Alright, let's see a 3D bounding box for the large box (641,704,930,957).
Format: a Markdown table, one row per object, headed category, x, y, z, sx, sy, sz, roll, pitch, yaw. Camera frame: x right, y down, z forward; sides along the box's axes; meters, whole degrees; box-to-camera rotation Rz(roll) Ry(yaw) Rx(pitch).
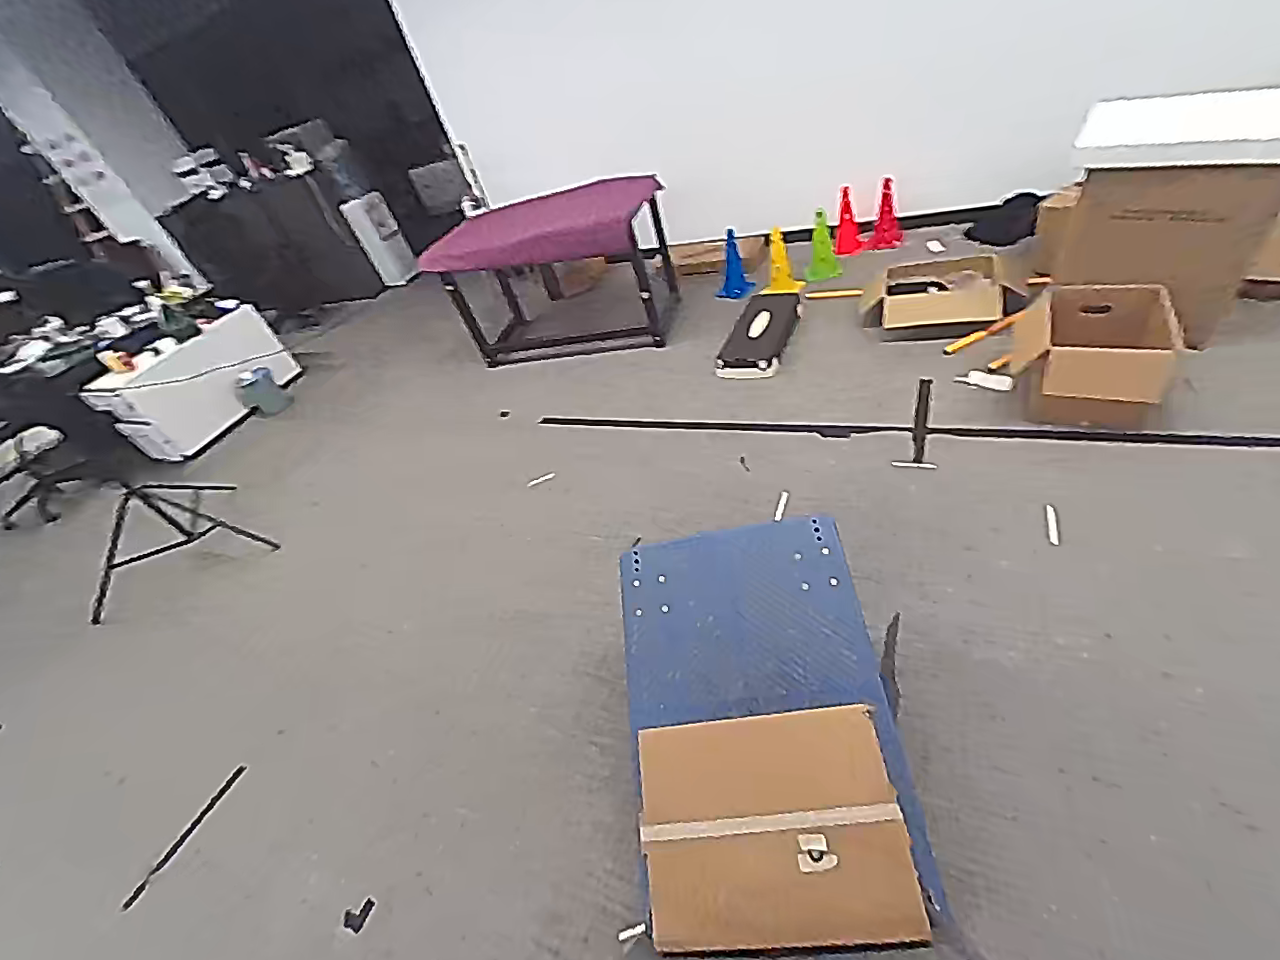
| category | x | y | z | sx | sy | sz | roll | pitch | yaw |
| --- | --- | --- | --- | --- | --- | --- | --- | --- | --- |
| large box | 0.242 | 0.632 | 1.003 | 0.408 | 0.320 | 0.320 | -12 | 59 | 8 |
